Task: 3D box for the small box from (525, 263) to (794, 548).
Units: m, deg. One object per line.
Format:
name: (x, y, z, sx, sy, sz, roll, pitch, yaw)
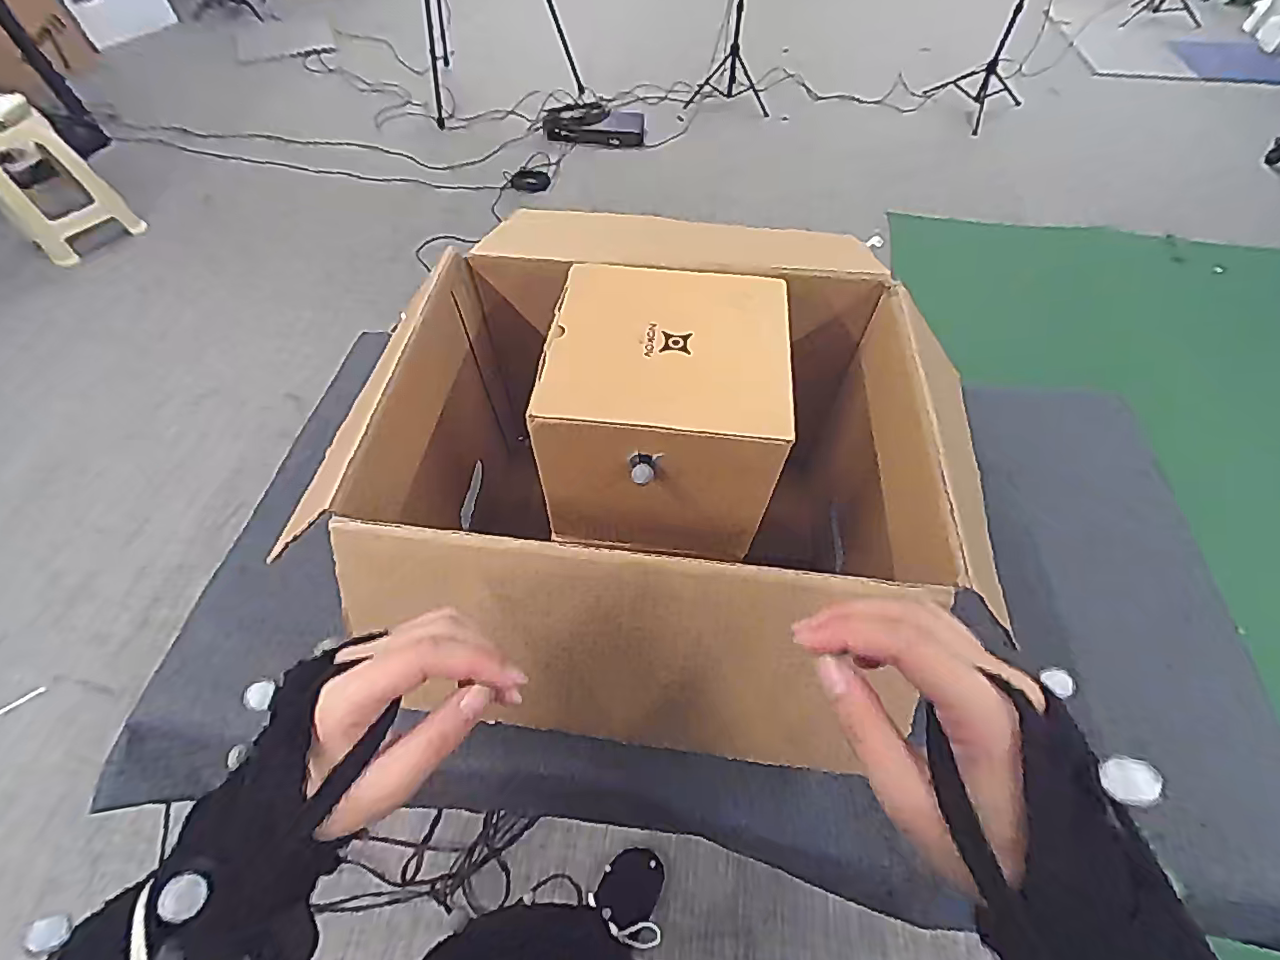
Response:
small box: (0.021, -0.054, 0.454, 0.179, 0.176, 0.168, 4, 57, 5)
